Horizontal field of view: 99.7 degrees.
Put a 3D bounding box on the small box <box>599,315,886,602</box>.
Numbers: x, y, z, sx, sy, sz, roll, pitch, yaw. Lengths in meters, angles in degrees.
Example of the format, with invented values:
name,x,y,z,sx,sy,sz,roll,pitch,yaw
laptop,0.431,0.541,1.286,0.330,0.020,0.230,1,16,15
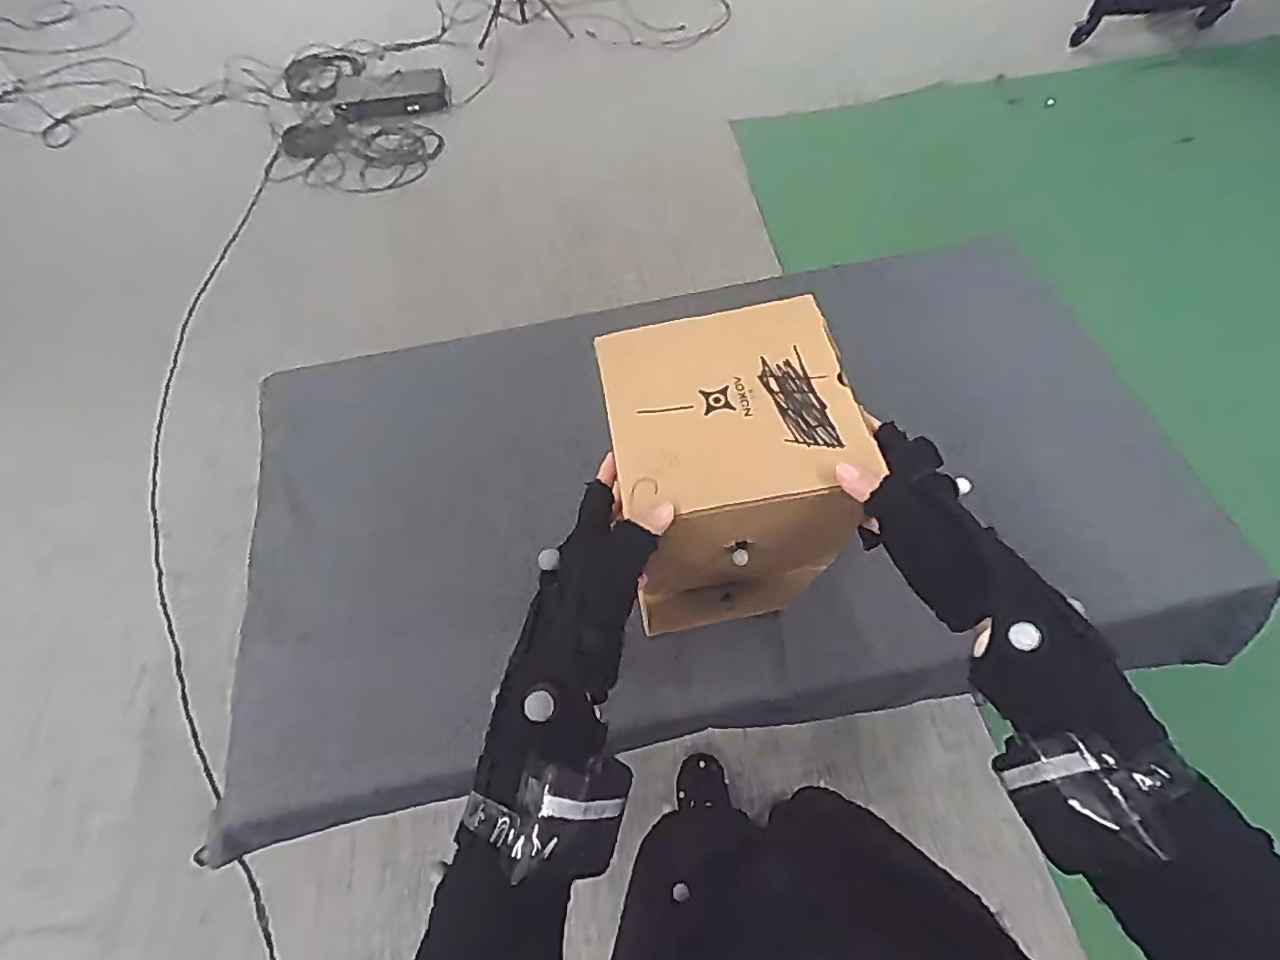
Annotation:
name,x,y,z,sx,sy,sz,roll,pitch,yaw
small box,0.069,-0.008,0.455,0.179,0.176,0.168,-10,62,0

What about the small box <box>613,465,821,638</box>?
name,x,y,z,sx,sy,sz,roll,pitch,yaw
small box,0.073,0.069,0.605,0.179,0.176,0.168,-11,64,-4
